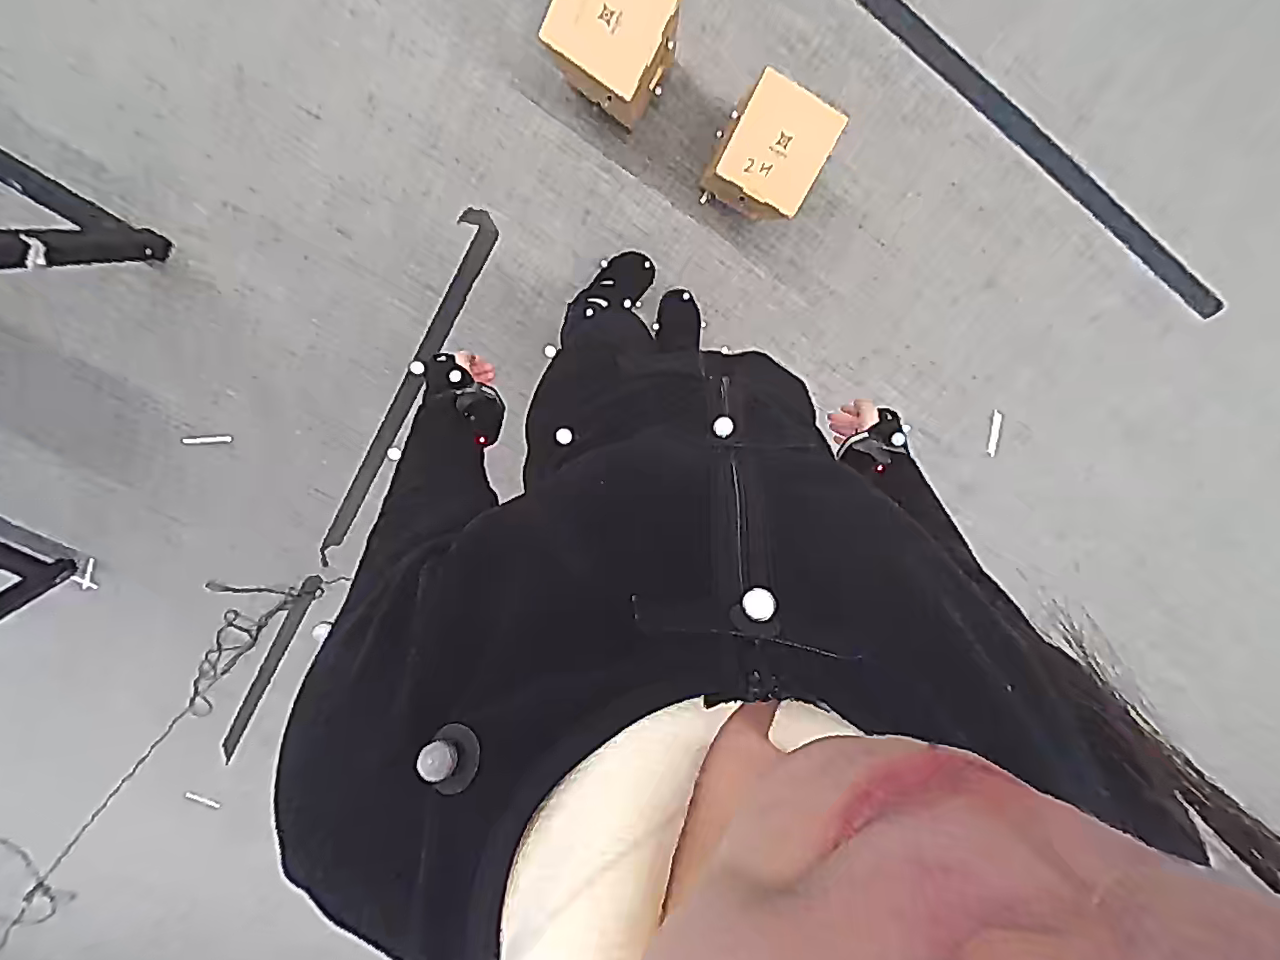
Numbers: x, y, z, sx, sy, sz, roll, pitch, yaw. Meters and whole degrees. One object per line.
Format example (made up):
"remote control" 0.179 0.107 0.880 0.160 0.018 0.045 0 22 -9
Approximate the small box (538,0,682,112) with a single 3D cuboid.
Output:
"small box" -0.047 -0.763 0.919 0.179 0.176 0.168 29 112 -12

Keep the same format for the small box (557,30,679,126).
"small box" -0.043 -0.834 1.067 0.179 0.176 0.168 31 112 -14

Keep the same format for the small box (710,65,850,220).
"small box" 0.242 -0.603 0.992 0.168 0.176 0.179 26 113 -11

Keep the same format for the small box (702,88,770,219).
"small box" 0.242 -0.674 1.141 0.168 0.176 0.179 24 112 -11
